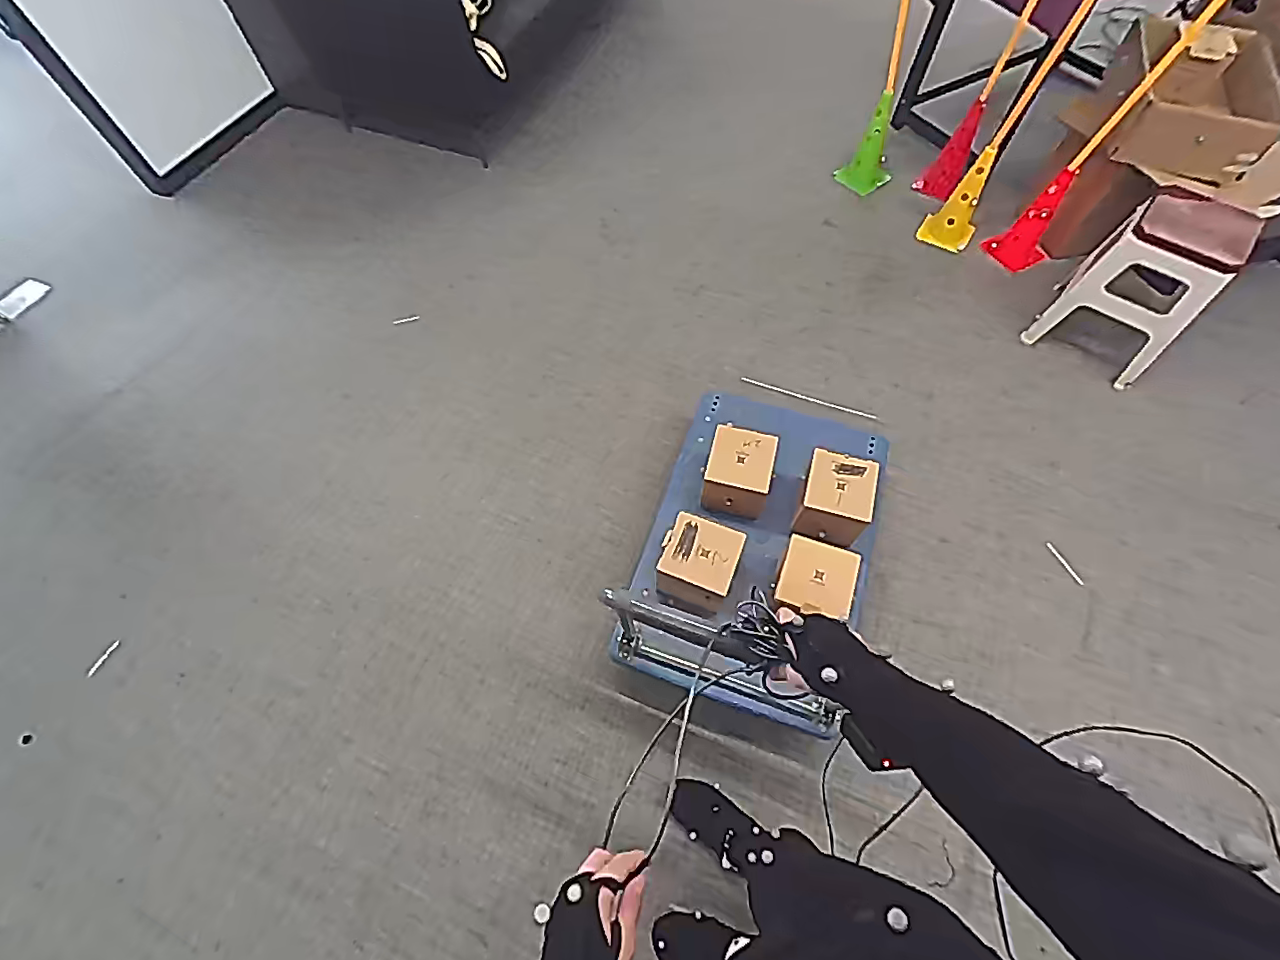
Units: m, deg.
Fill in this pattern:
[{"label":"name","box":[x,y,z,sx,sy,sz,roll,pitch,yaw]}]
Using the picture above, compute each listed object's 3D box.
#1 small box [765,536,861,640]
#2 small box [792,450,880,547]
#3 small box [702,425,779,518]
[{"label":"small box","box":[0.414,0.266,1.313,0.168,0.176,0.179,18,65,11]},{"label":"small box","box":[0.510,0.052,1.420,0.168,0.176,0.179,15,65,10]},{"label":"small box","box":[0.267,-0.017,1.464,0.168,0.176,0.179,14,64,8]}]
